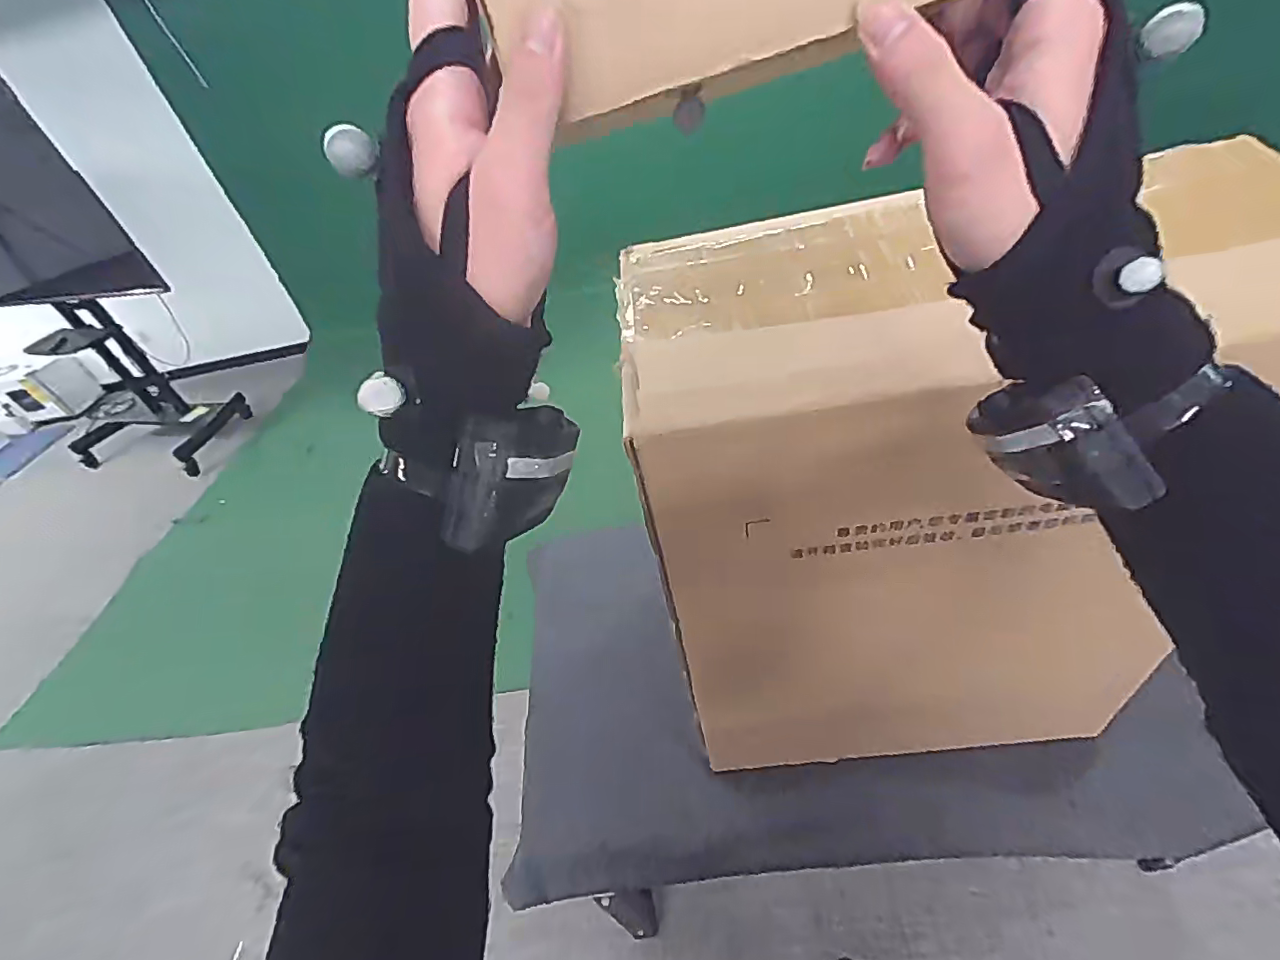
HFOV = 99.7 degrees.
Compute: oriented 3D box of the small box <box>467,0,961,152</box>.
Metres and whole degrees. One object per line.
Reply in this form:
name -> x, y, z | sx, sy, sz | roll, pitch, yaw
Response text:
small box -> 0.013, -0.251, 0.222 | 0.179, 0.168, 0.176 | -15, 29, 5
